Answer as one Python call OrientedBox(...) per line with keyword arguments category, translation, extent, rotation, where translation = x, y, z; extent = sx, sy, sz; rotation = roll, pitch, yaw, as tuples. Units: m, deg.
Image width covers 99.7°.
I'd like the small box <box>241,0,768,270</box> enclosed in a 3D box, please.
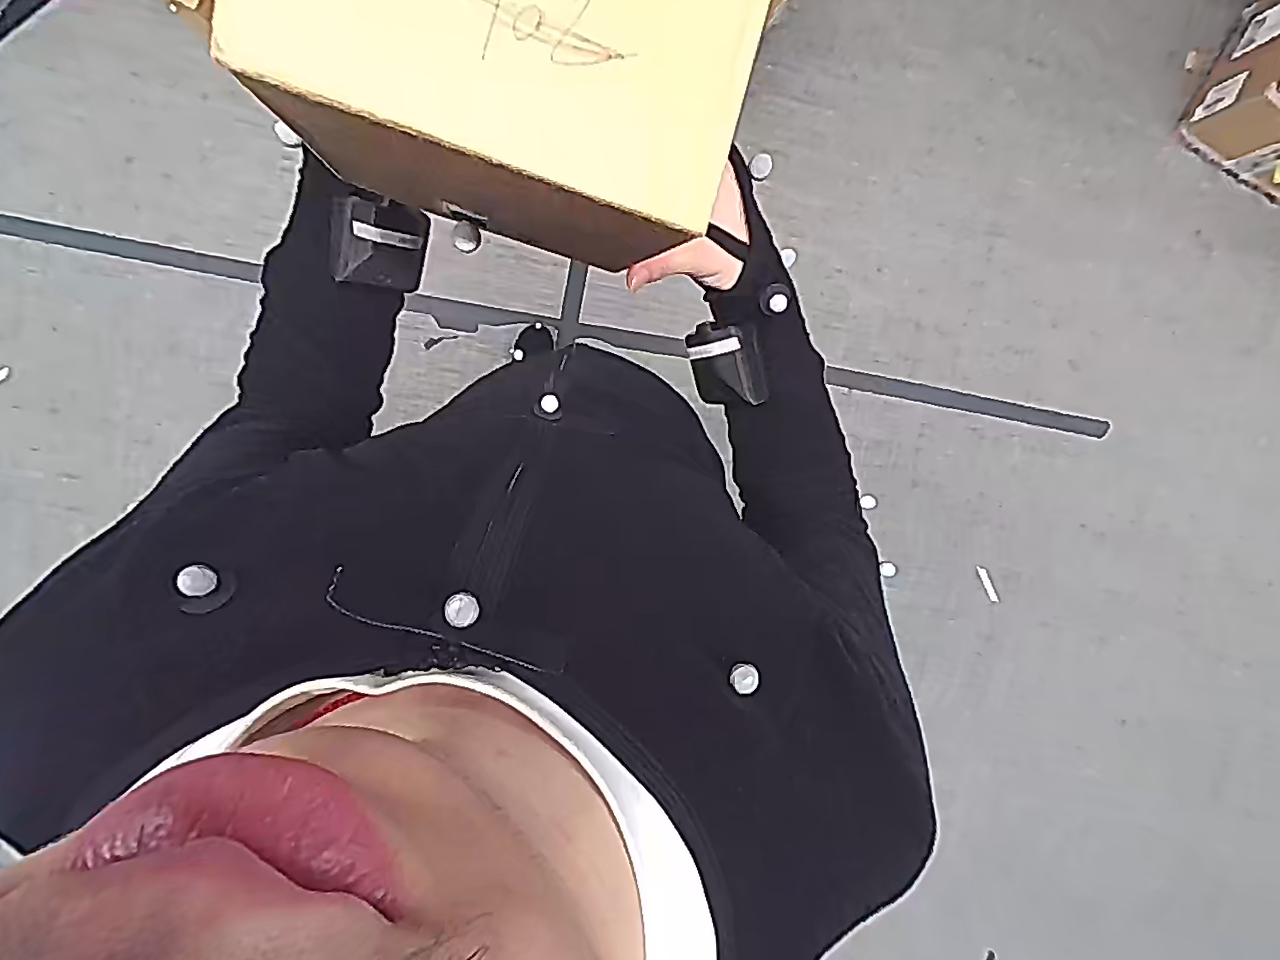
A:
OrientedBox(category="small box", translation=(-0.049, -0.217, 0.255), extent=(0.168, 0.176, 0.179), rotation=(13, 102, -18))
